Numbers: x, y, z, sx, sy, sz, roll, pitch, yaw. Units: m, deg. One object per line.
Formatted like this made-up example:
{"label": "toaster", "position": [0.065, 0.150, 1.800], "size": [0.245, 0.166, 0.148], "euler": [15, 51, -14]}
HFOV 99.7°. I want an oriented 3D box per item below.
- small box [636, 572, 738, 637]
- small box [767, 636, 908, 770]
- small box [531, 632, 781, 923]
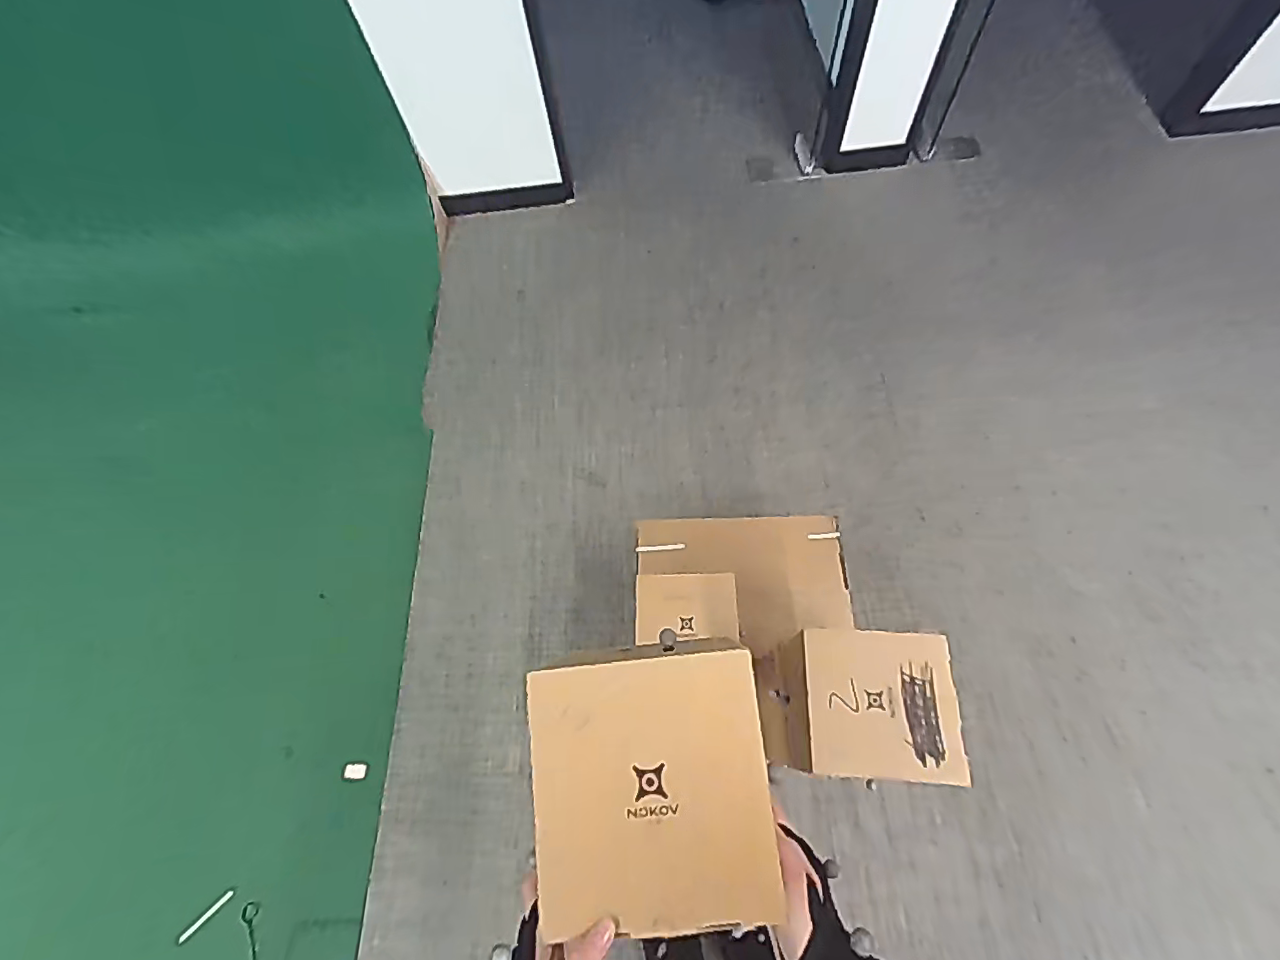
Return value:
{"label": "small box", "position": [0.082, 0.268, 0.930], "size": [0.168, 0.176, 0.179], "euler": [-2, 62, 5]}
{"label": "small box", "position": [0.299, 0.358, 0.861], "size": [0.168, 0.176, 0.179], "euler": [1, 63, 5]}
{"label": "small box", "position": [0.010, 0.225, 0.460], "size": [0.168, 0.176, 0.179], "euler": [-7, 77, 2]}
